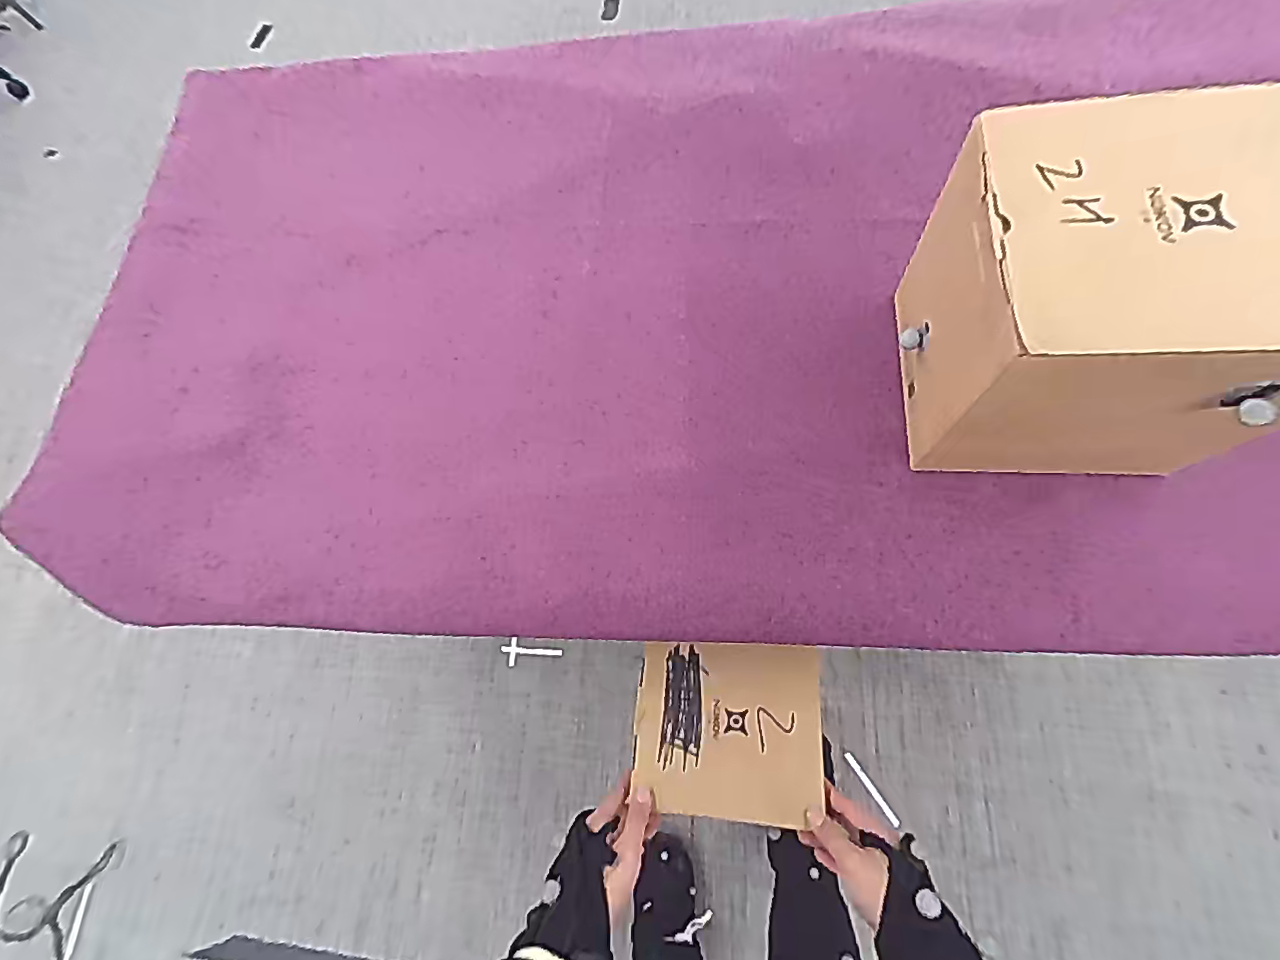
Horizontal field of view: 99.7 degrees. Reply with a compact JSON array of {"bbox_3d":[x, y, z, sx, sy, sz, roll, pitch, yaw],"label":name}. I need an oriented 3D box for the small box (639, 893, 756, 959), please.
[{"bbox_3d":[0.084,0.791,0.860,0.179,0.176,0.168,4,69,5],"label":"small box"}]
